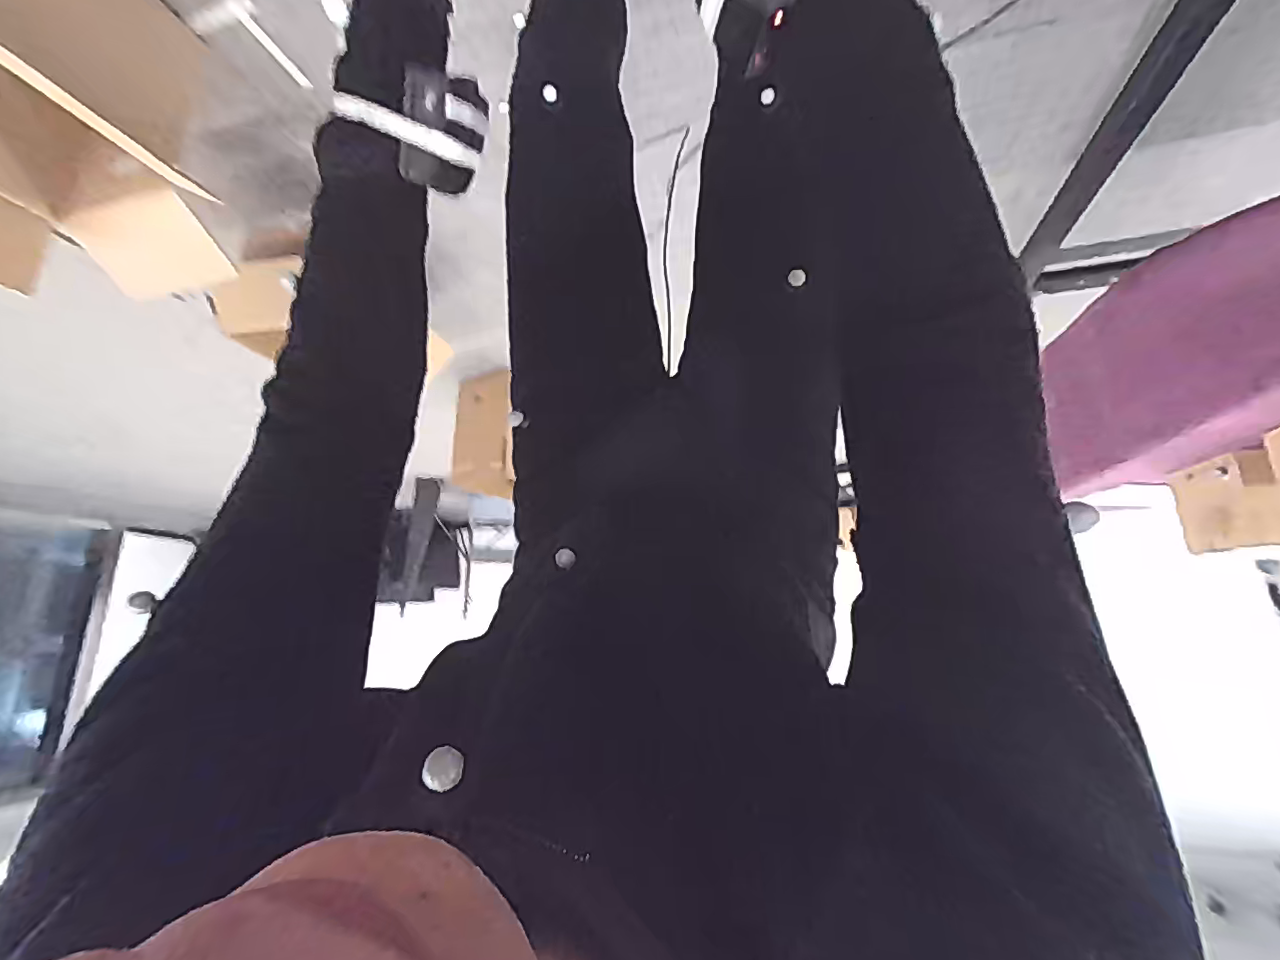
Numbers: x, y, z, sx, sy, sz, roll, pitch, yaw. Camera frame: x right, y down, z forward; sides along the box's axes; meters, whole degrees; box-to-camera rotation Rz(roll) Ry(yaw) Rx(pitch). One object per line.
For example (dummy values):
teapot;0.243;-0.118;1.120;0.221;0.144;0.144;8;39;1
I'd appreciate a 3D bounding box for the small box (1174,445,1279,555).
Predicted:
small box;1.119;0.036;0.961;0.179;0.176;0.168;-4;165;11
